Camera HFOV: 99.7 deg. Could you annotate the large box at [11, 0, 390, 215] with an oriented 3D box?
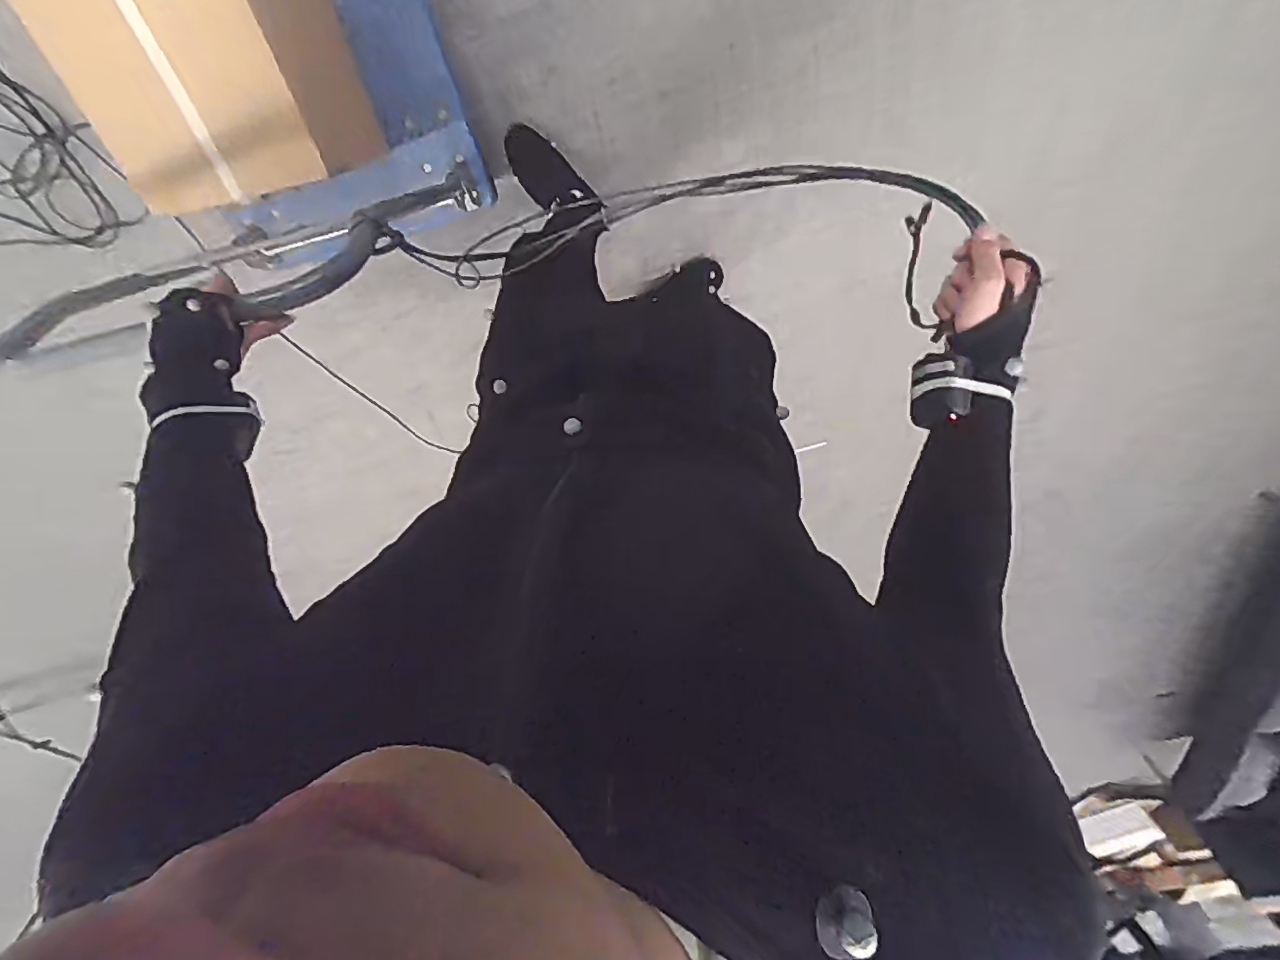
[{"bbox_3d":[-0.680,-0.697,0.868,0.320,0.320,0.408,-10,126,4],"label":"large box"}]
